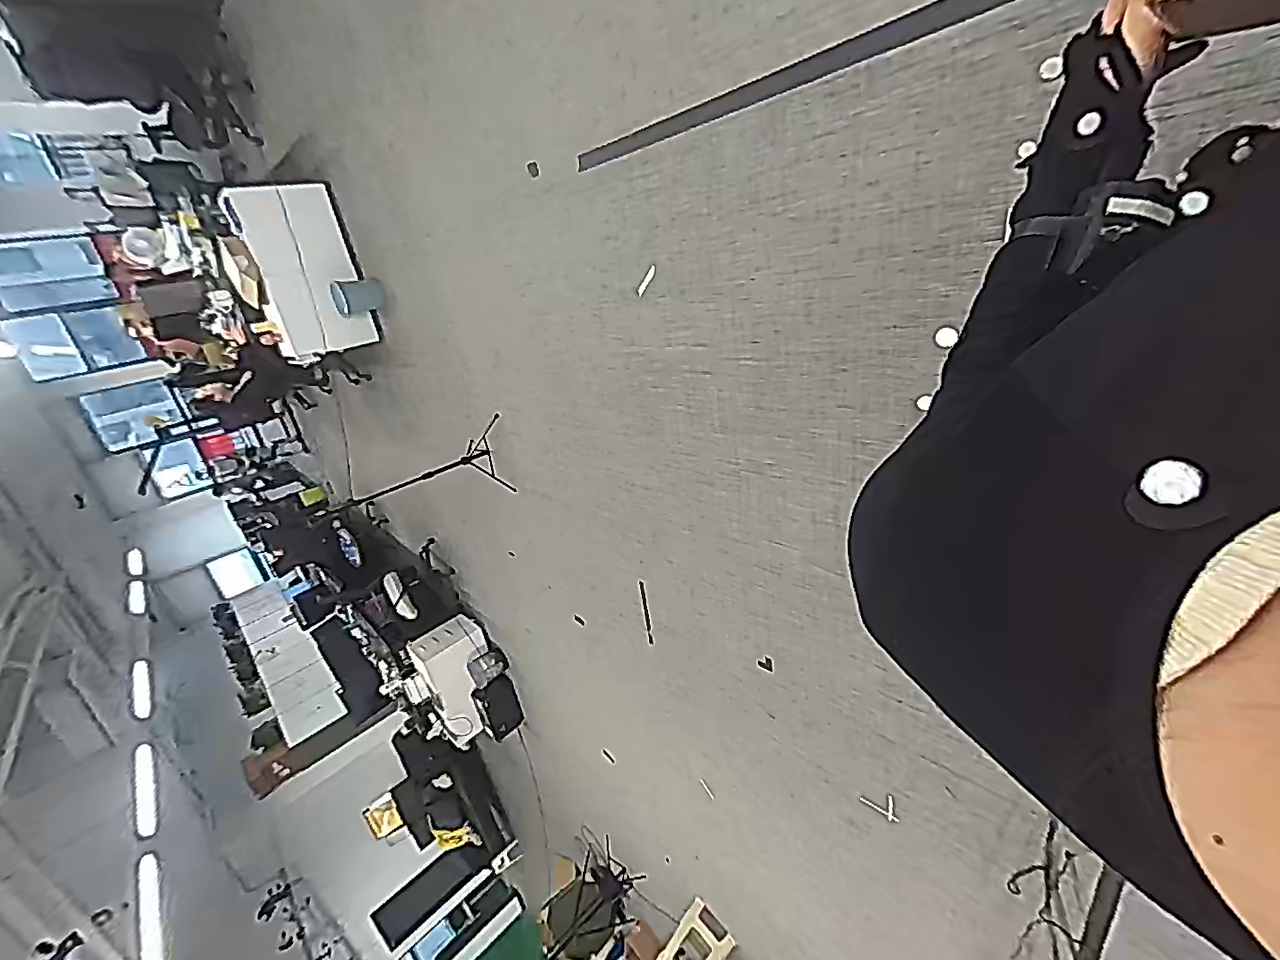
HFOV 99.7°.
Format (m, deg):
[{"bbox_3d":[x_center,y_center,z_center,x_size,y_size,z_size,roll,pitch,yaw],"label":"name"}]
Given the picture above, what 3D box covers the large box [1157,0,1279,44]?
[{"bbox_3d":[0.405,-0.338,0.101,0.408,0.320,0.320,15,128,38],"label":"large box"}]
